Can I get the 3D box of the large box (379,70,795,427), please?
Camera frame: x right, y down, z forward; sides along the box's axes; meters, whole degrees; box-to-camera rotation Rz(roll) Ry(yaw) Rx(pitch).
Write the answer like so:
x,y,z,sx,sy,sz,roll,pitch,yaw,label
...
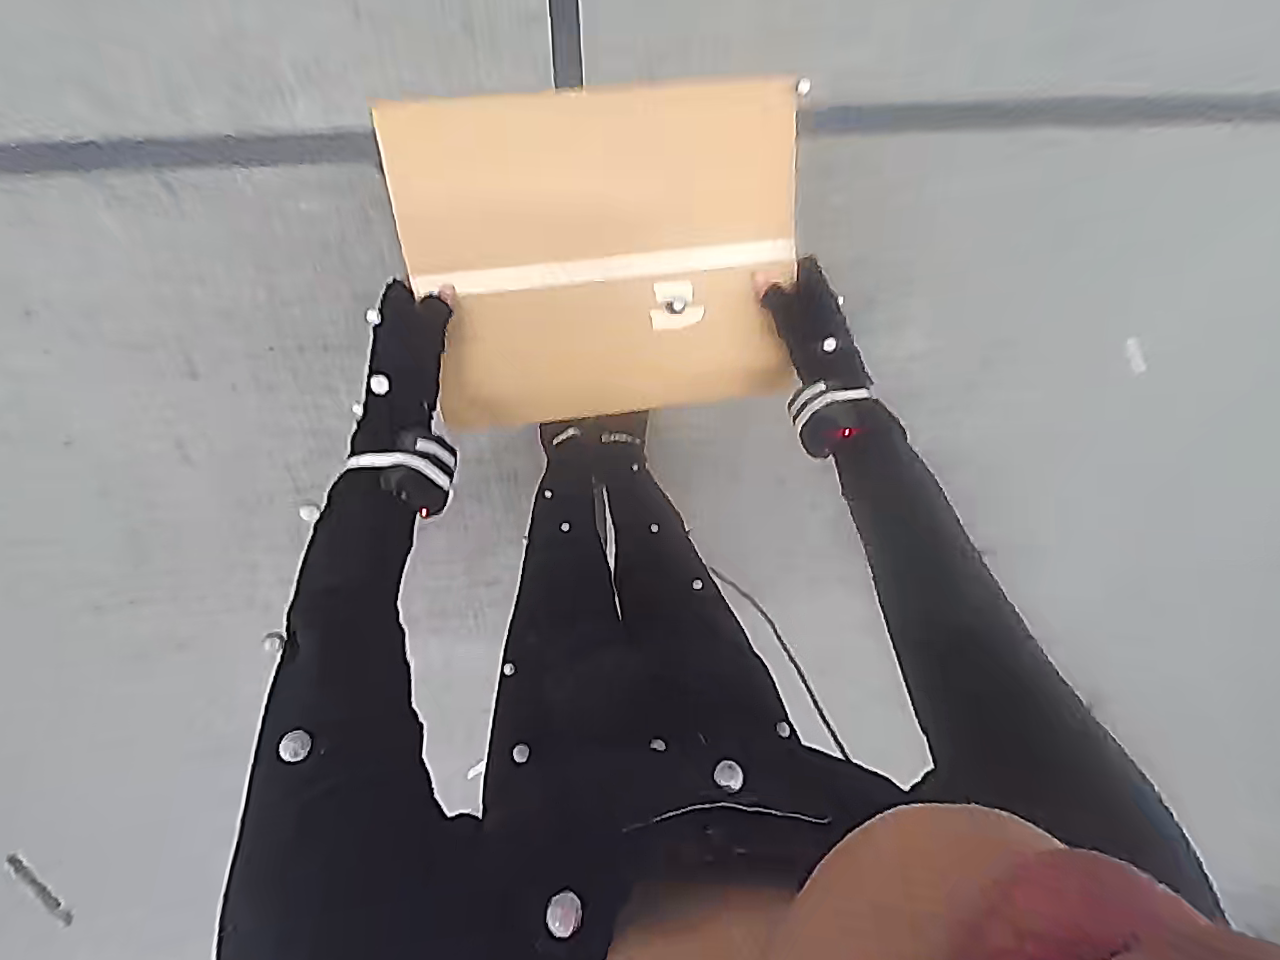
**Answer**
x,y,z,sx,sy,sz,roll,pitch,yaw,label
-0.052,-0.281,0.702,0.408,0.320,0.320,-9,113,-6,large box
